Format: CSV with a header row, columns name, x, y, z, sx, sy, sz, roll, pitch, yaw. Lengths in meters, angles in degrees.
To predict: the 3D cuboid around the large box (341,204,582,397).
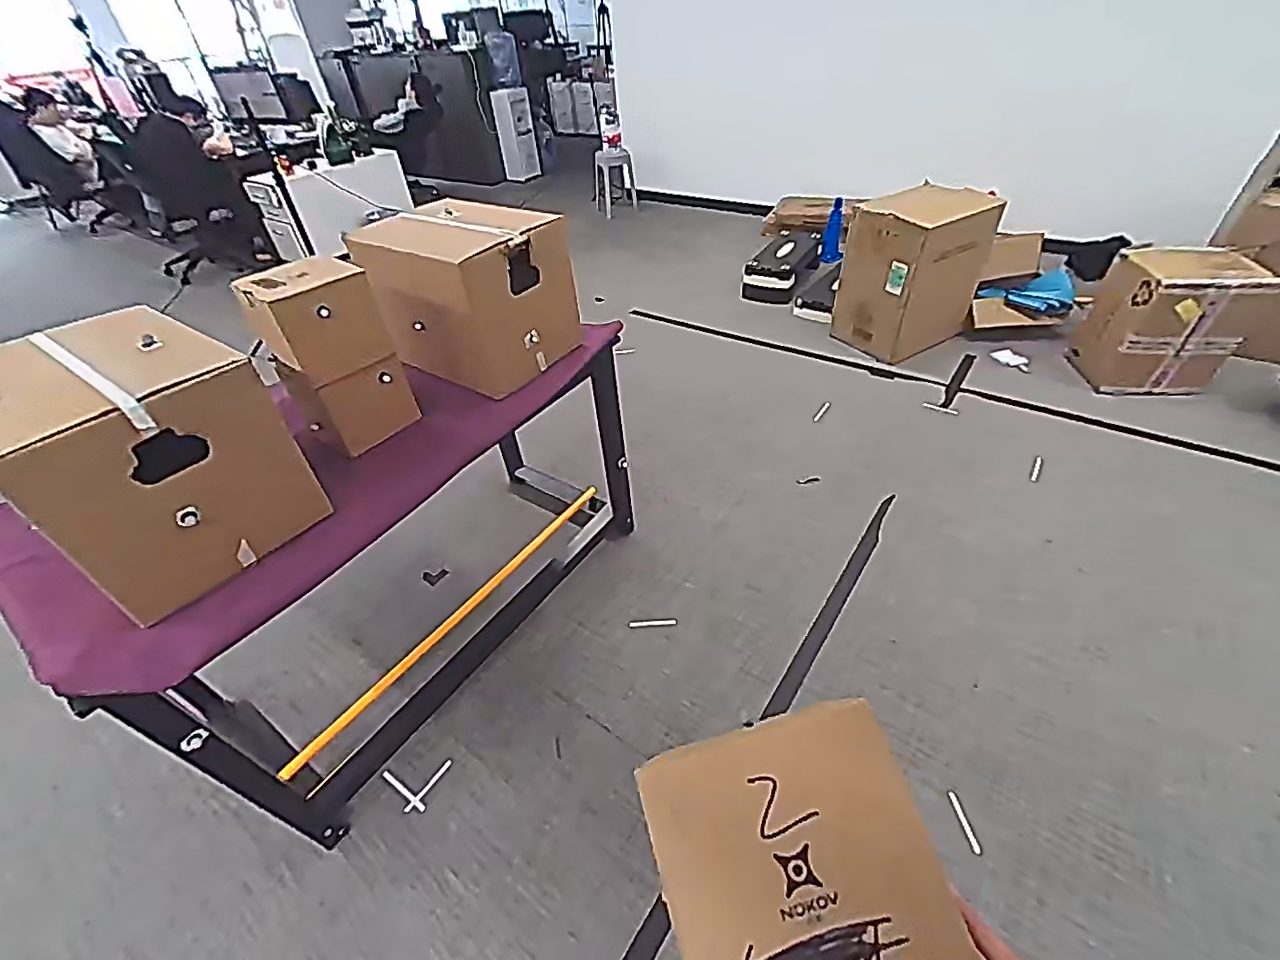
name,x,y,z,sx,sy,sz,roll,pitch,yaw
large box,-0.404,-0.440,1.295,0.408,0.320,0.320,21,47,28
